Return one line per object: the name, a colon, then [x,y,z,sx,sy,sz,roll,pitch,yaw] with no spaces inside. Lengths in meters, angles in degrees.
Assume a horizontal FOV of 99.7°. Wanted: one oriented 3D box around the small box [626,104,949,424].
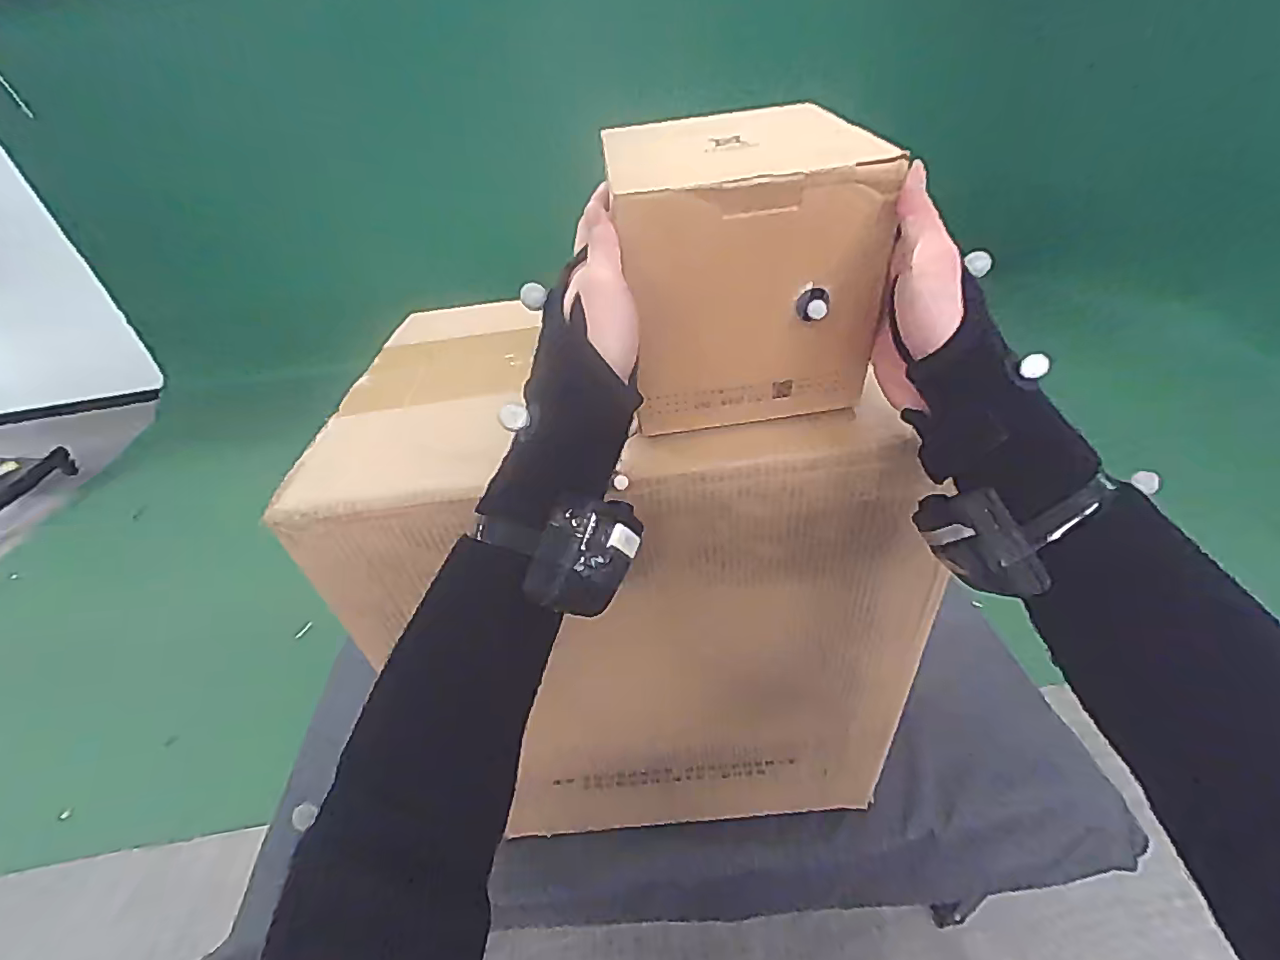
small box: [0.083,-0.153,0.396,0.168,0.176,0.179,-6,43,-1]
